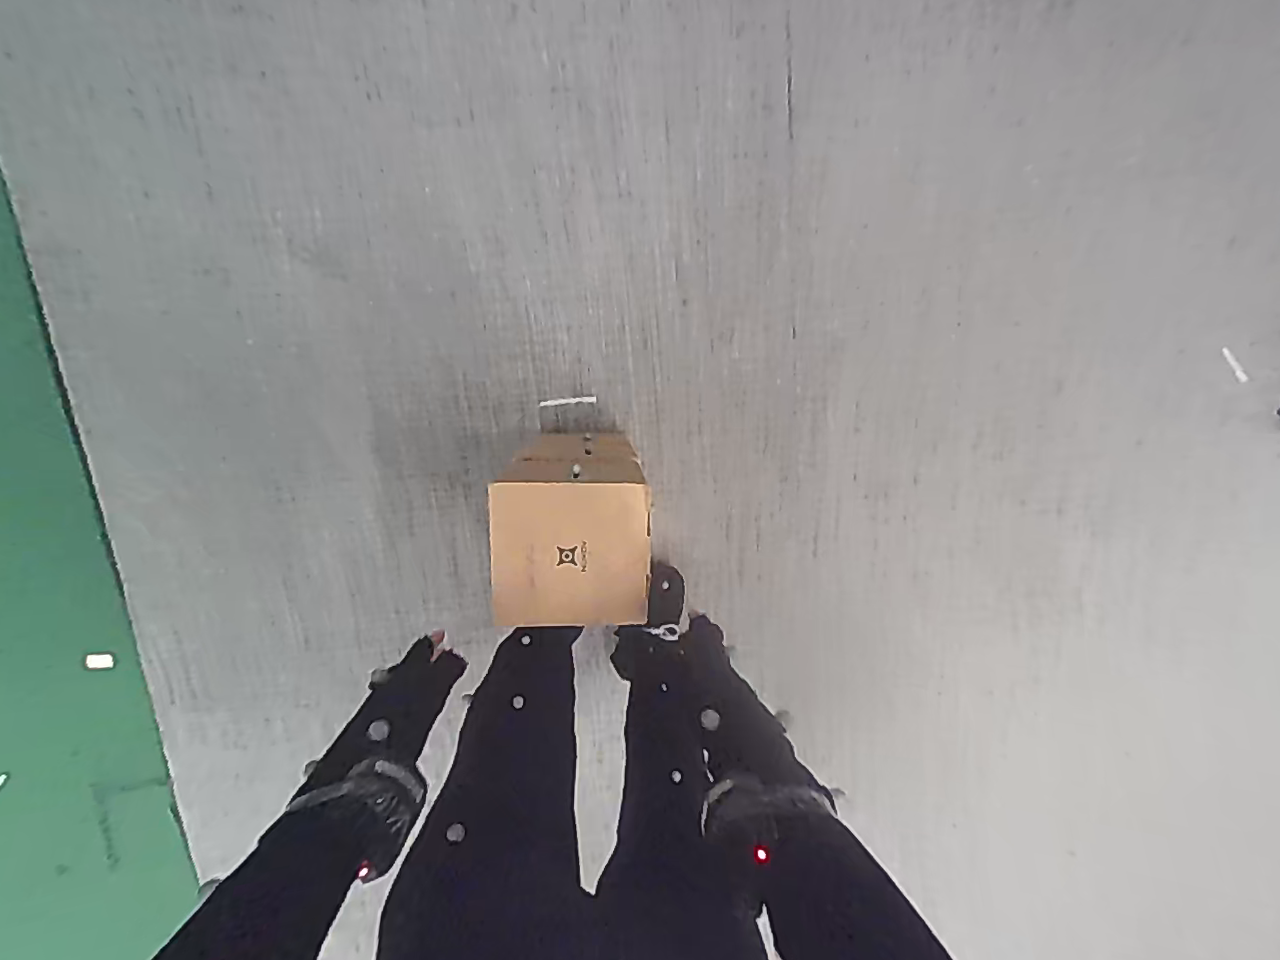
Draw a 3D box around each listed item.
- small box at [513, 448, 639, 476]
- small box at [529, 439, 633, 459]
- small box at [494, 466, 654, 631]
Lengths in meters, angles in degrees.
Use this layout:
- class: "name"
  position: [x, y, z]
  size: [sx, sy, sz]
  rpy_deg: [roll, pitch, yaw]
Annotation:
- class: "small box"
  position: [-0.094, 0.043, 0.840]
  size: [0.179, 0.176, 0.168]
  rpy_deg: [-2, 102, -3]
- class: "small box"
  position: [-0.105, 0.013, 0.998]
  size: [0.179, 0.176, 0.168]
  rpy_deg: [0, 100, -3]
- class: "small box"
  position: [-0.080, 0.075, 0.678]
  size: [0.179, 0.176, 0.168]
  rpy_deg: [1, 100, -4]
